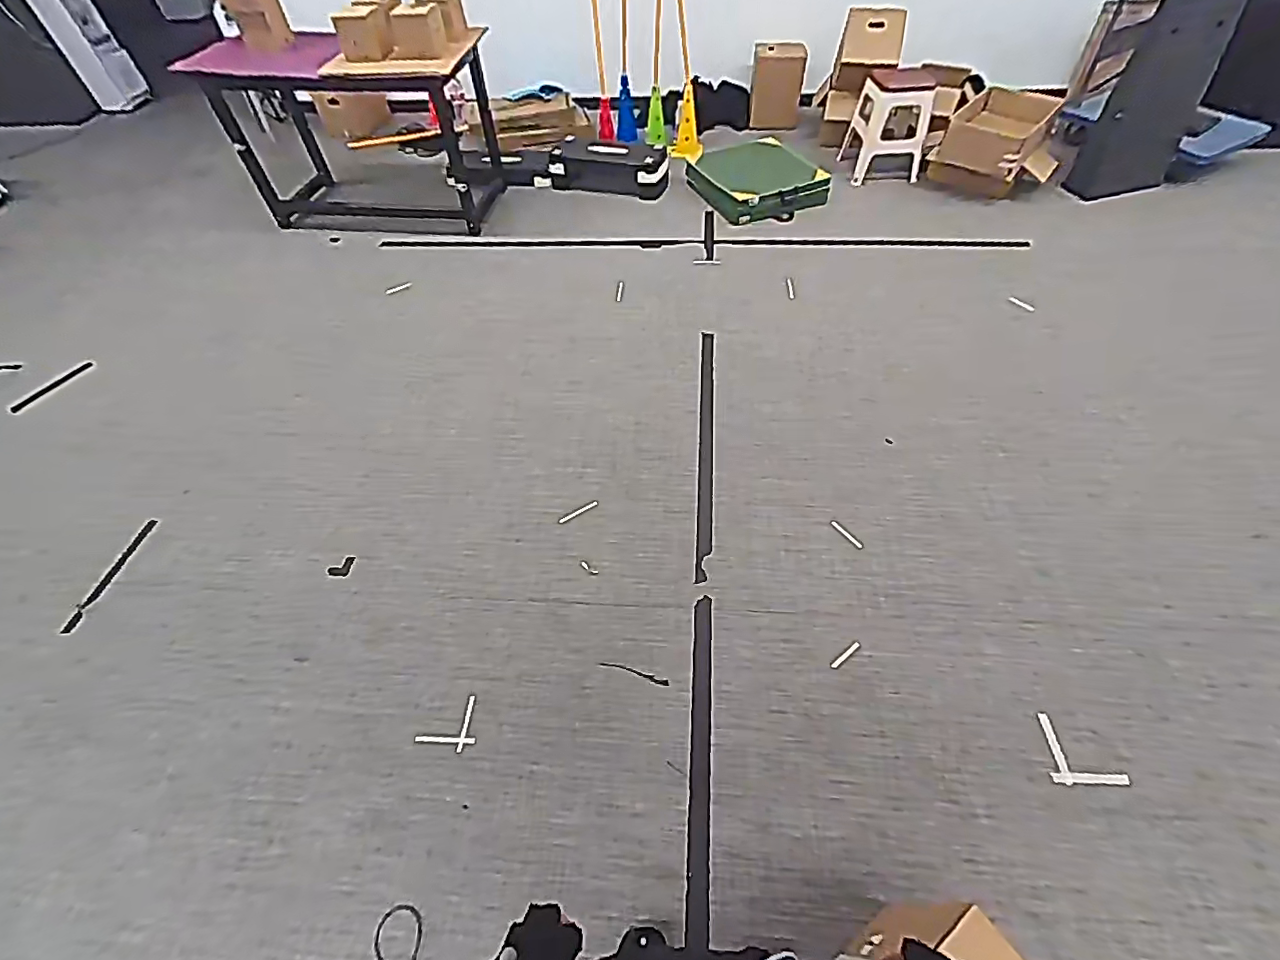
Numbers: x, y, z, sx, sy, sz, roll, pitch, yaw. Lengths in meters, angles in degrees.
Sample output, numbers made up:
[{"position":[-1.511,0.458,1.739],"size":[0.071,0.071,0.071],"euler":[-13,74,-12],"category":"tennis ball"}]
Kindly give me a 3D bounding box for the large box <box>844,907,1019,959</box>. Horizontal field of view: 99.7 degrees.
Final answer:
[{"position":[0.493,0.955,0.861],"size":[0.320,0.408,0.320],"euler":[-29,55,-20],"category":"large box"}]
